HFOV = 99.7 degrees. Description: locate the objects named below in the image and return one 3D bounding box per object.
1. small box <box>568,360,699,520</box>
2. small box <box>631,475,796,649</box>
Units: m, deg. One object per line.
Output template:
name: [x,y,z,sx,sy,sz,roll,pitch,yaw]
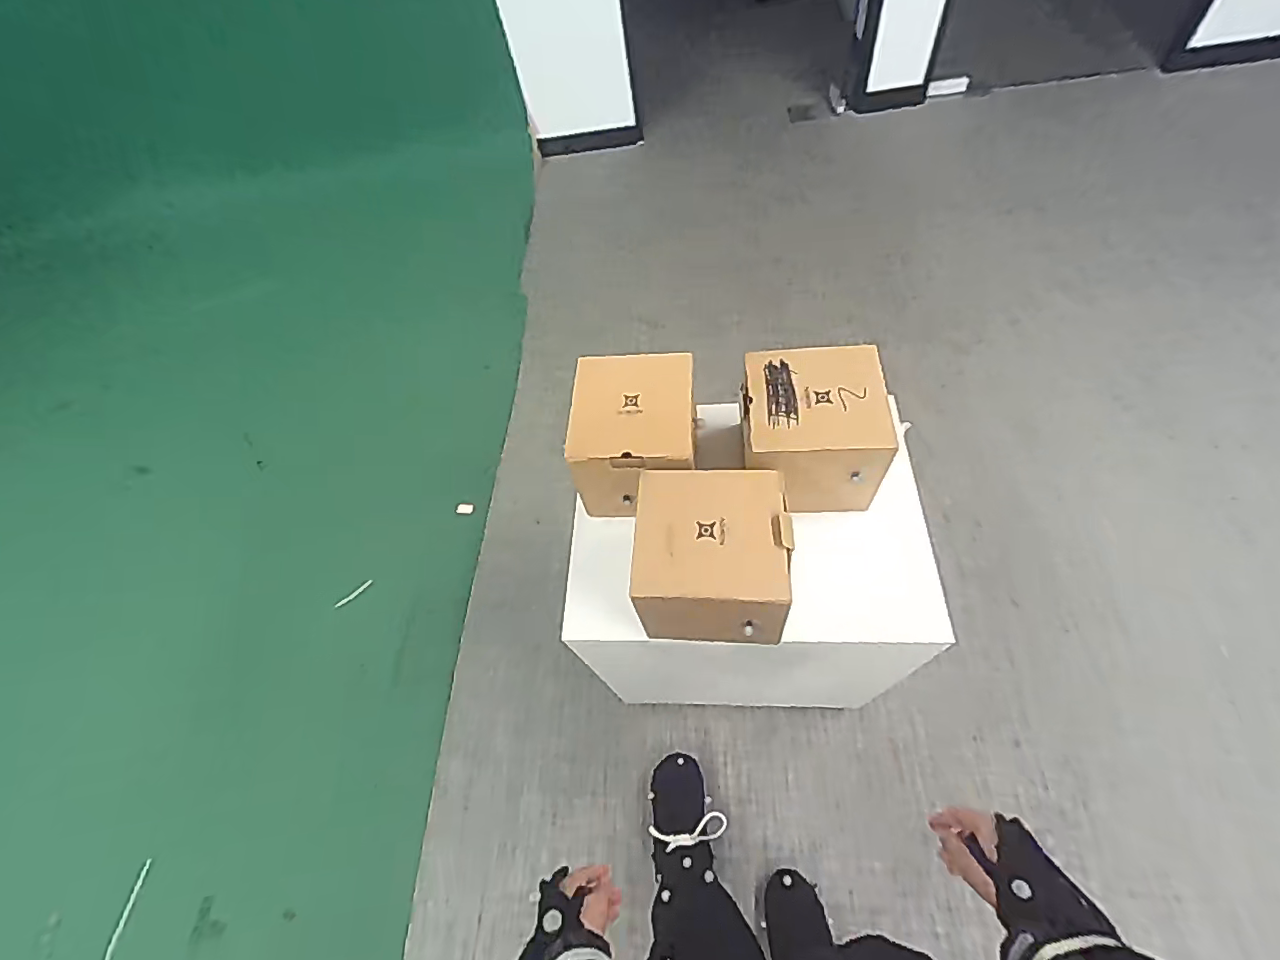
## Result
small box: [0.000,-0.054,0.793,0.168,0.176,0.179,-1,60,7]
small box: [0.093,0.107,0.680,0.179,0.176,0.168,-1,57,10]
